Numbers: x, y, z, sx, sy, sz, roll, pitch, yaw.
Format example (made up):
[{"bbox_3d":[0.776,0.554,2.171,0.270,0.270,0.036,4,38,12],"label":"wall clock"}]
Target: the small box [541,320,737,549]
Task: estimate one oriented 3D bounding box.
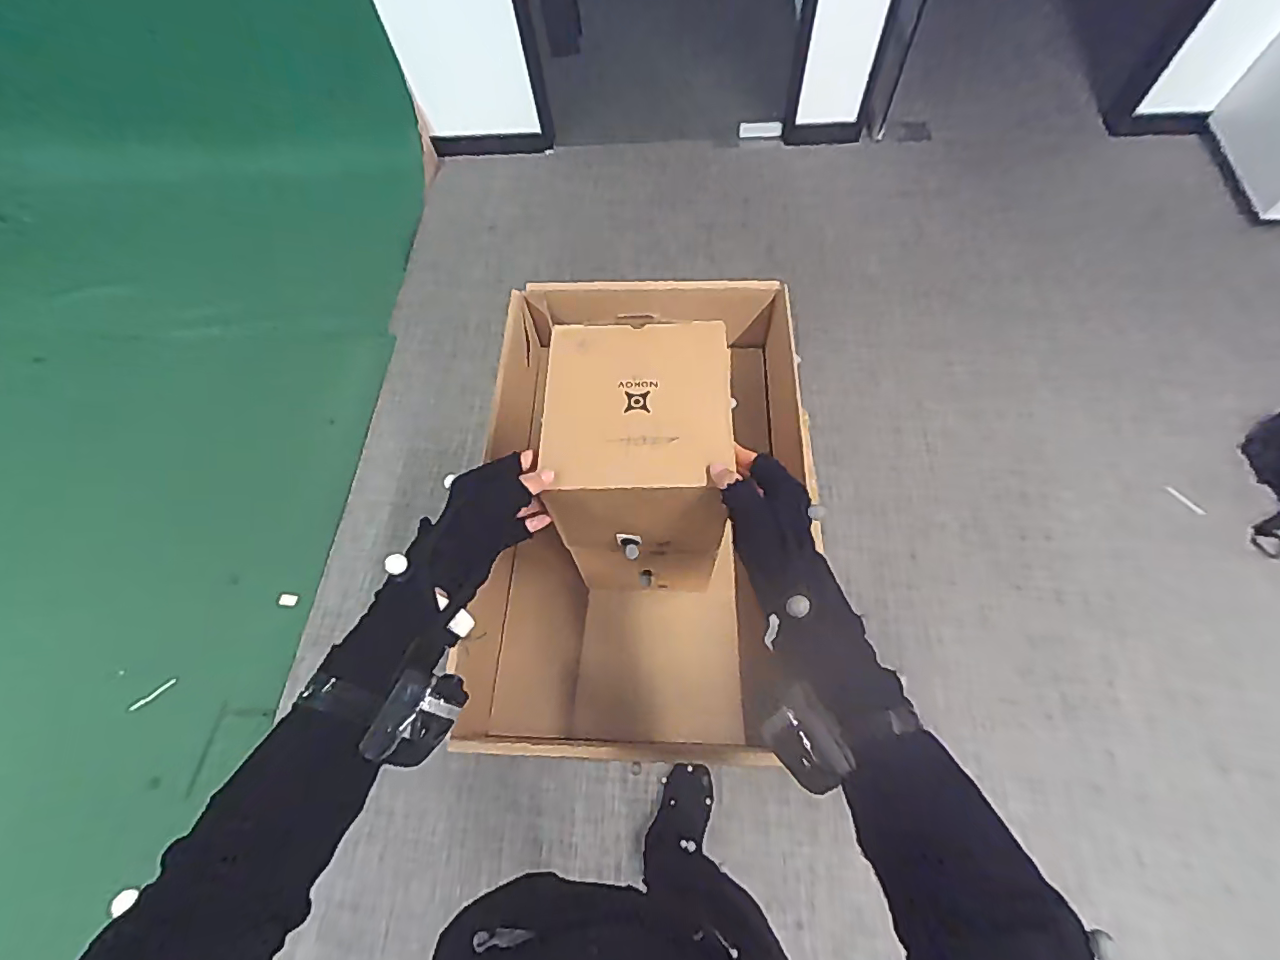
[{"bbox_3d":[0.003,-0.039,0.551,0.168,0.176,0.179,-1,65,3],"label":"small box"}]
